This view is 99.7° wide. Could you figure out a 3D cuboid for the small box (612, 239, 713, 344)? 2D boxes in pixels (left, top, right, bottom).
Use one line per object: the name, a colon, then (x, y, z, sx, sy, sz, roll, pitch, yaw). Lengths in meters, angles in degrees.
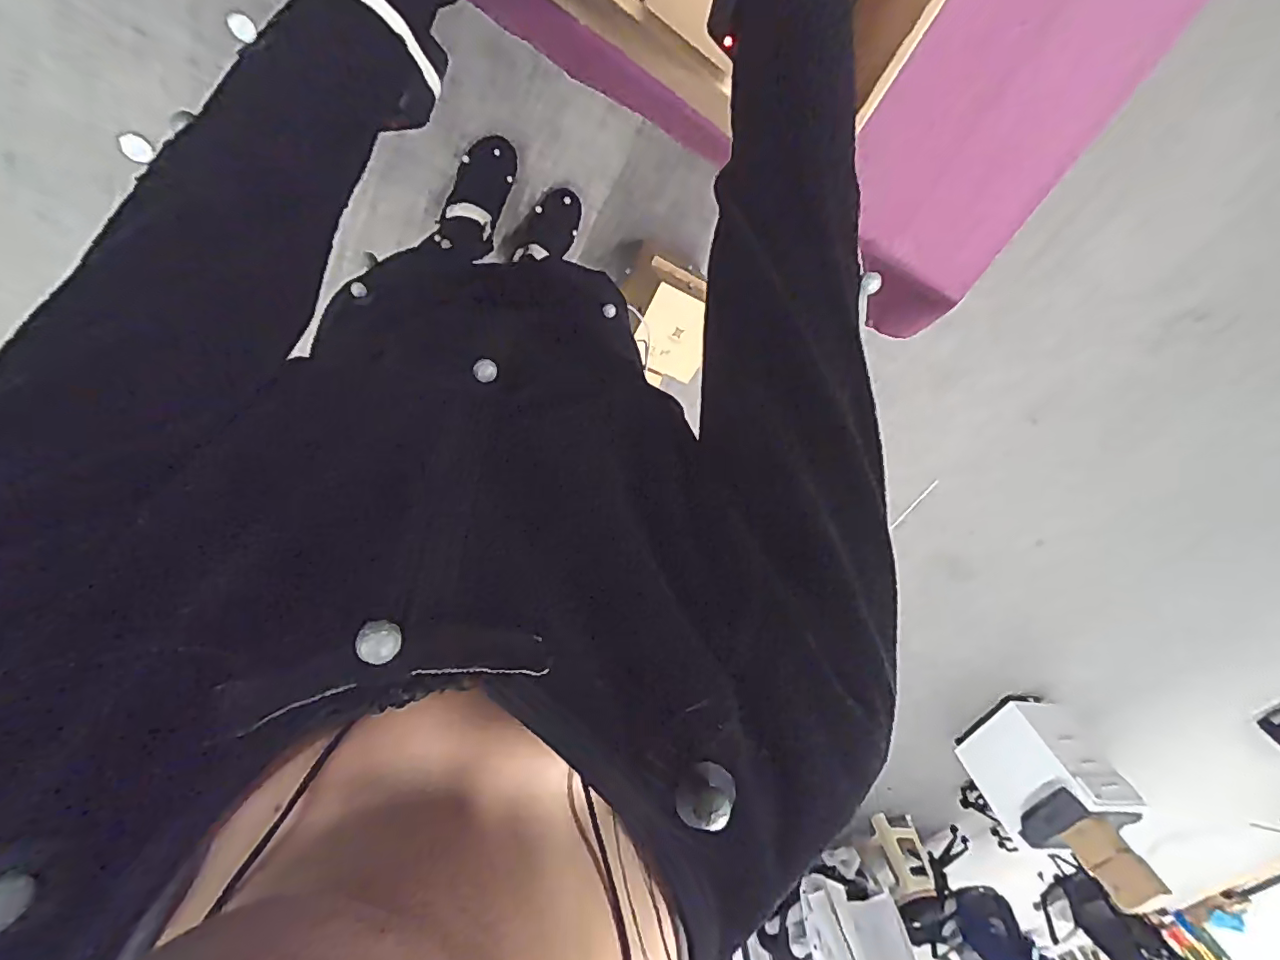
small box: (0.049, -0.468, 1.333, 0.179, 0.176, 0.168, 20, 119, -23)
